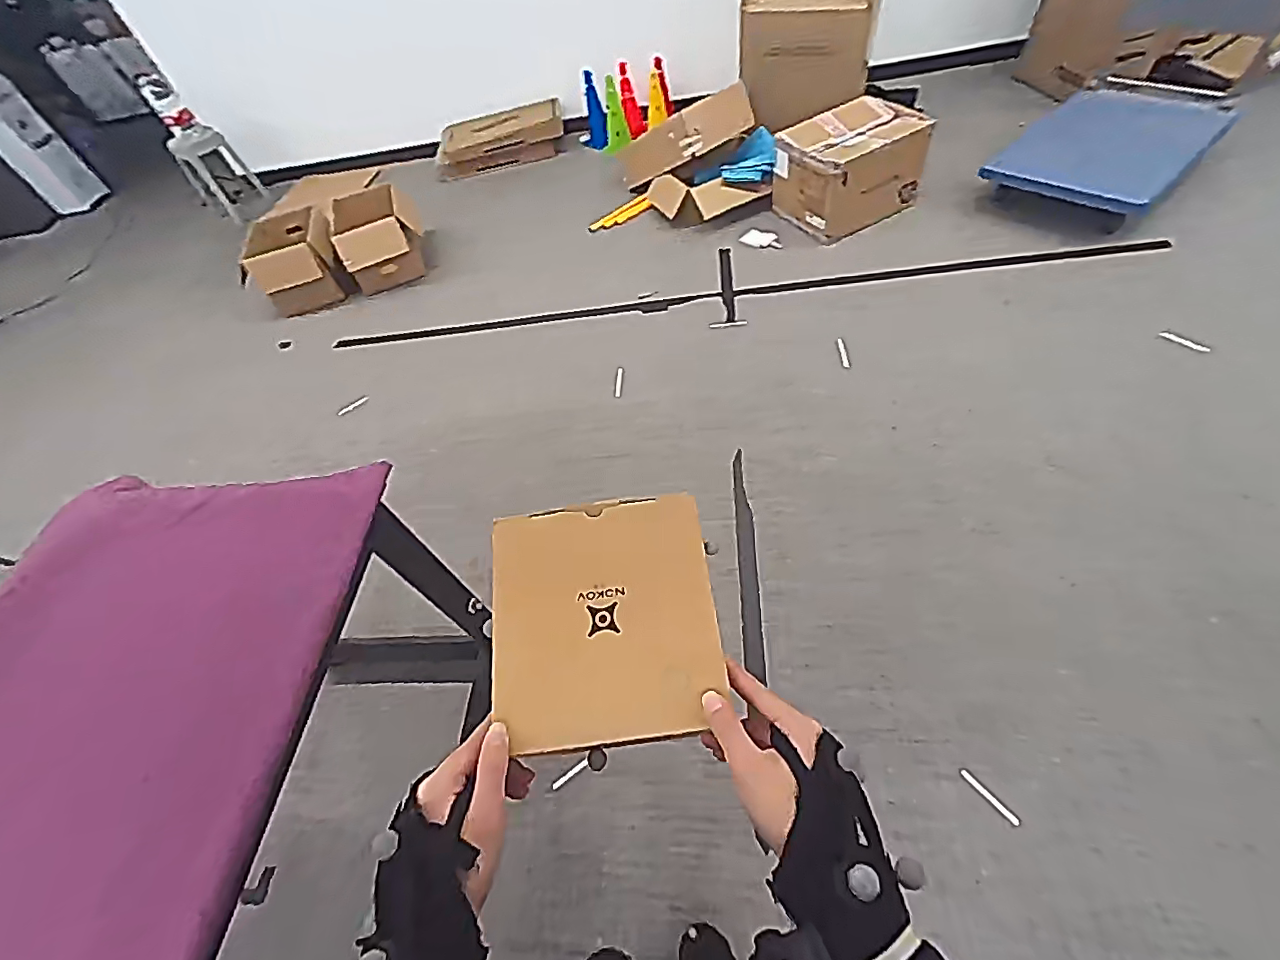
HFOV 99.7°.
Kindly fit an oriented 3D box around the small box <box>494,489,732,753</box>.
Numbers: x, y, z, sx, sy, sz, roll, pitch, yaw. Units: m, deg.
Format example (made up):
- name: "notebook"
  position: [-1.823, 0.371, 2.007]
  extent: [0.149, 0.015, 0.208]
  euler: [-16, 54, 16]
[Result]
- name: "small box"
  position: [-0.020, 0.130, 0.468]
  extent: [0.168, 0.176, 0.179]
  euler: [-8, 62, 0]
